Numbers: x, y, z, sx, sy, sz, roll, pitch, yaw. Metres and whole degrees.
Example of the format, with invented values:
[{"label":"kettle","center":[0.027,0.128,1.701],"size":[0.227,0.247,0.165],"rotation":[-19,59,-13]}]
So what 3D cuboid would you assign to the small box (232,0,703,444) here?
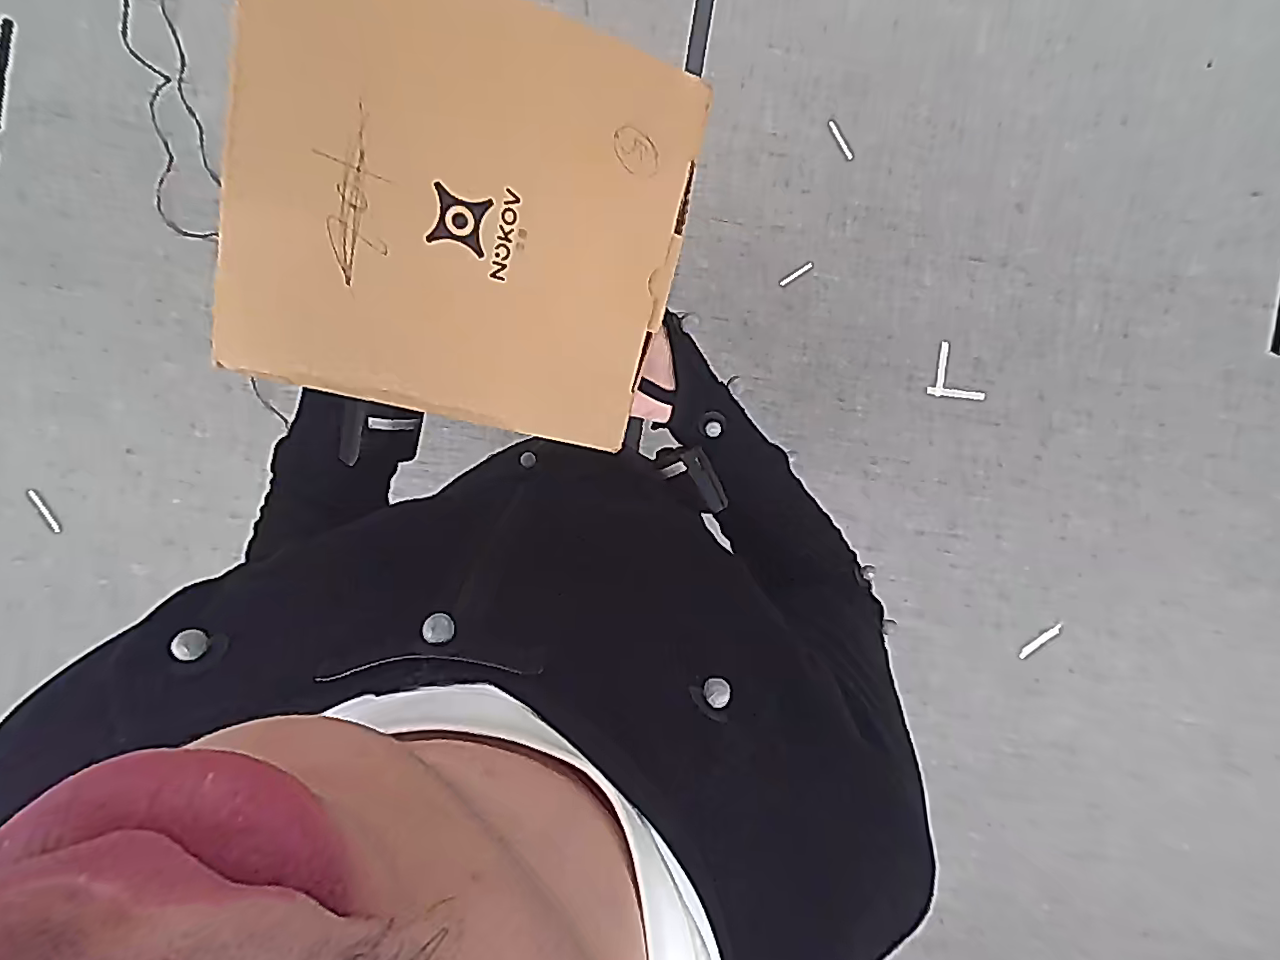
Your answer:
[{"label":"small box","center":[-0.090,-0.133,0.309],"size":[0.179,0.176,0.168],"rotation":[11,105,-16]}]
